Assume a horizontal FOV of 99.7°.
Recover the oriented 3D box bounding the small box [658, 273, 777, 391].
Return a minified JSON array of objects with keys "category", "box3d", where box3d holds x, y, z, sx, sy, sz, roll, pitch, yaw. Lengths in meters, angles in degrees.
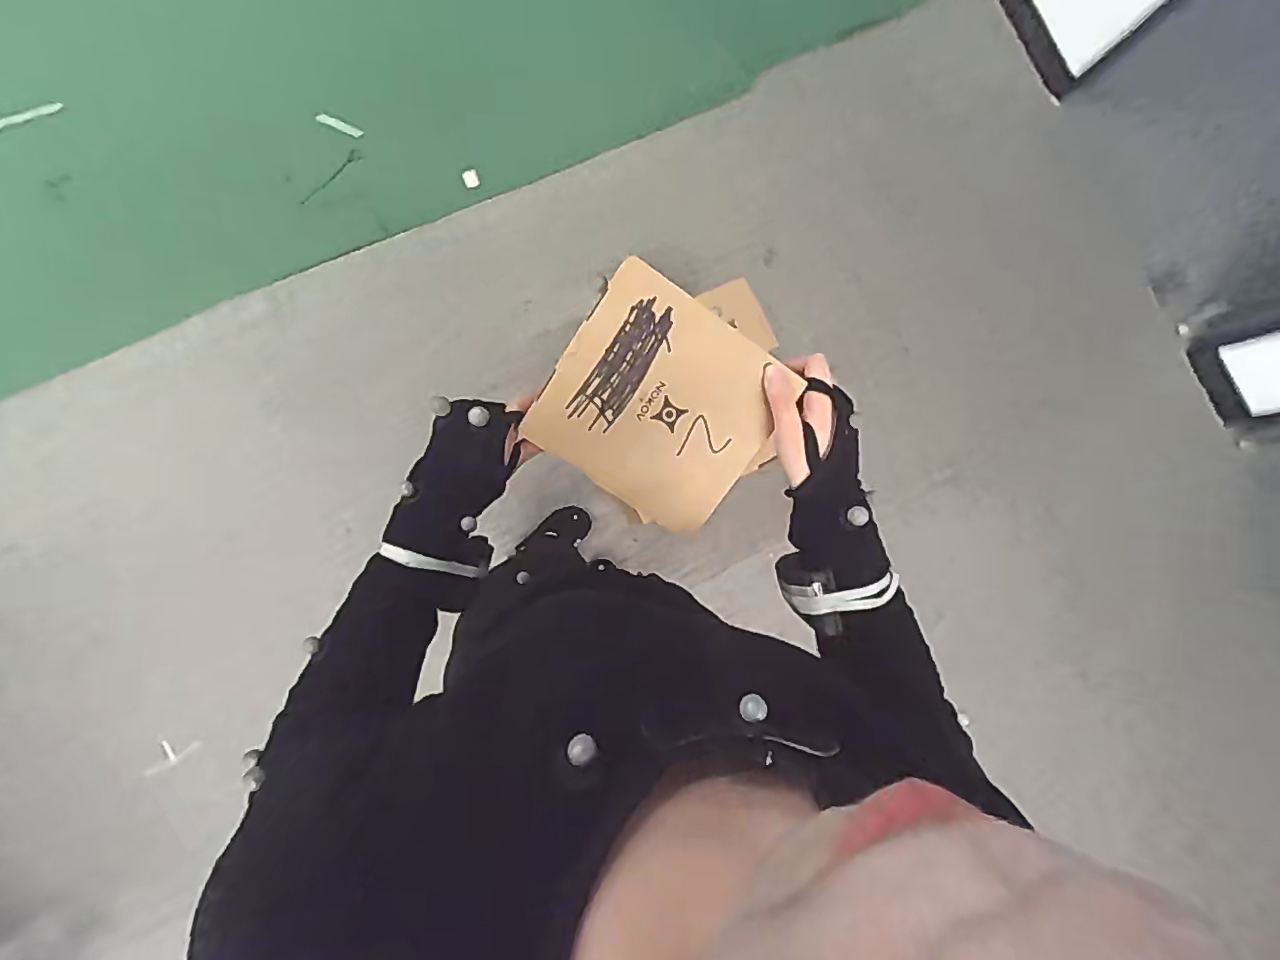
[{"category":"small box","box3d":[0.161,-0.316,1.181,0.179,0.176,0.168,-26,89,-12]}]
